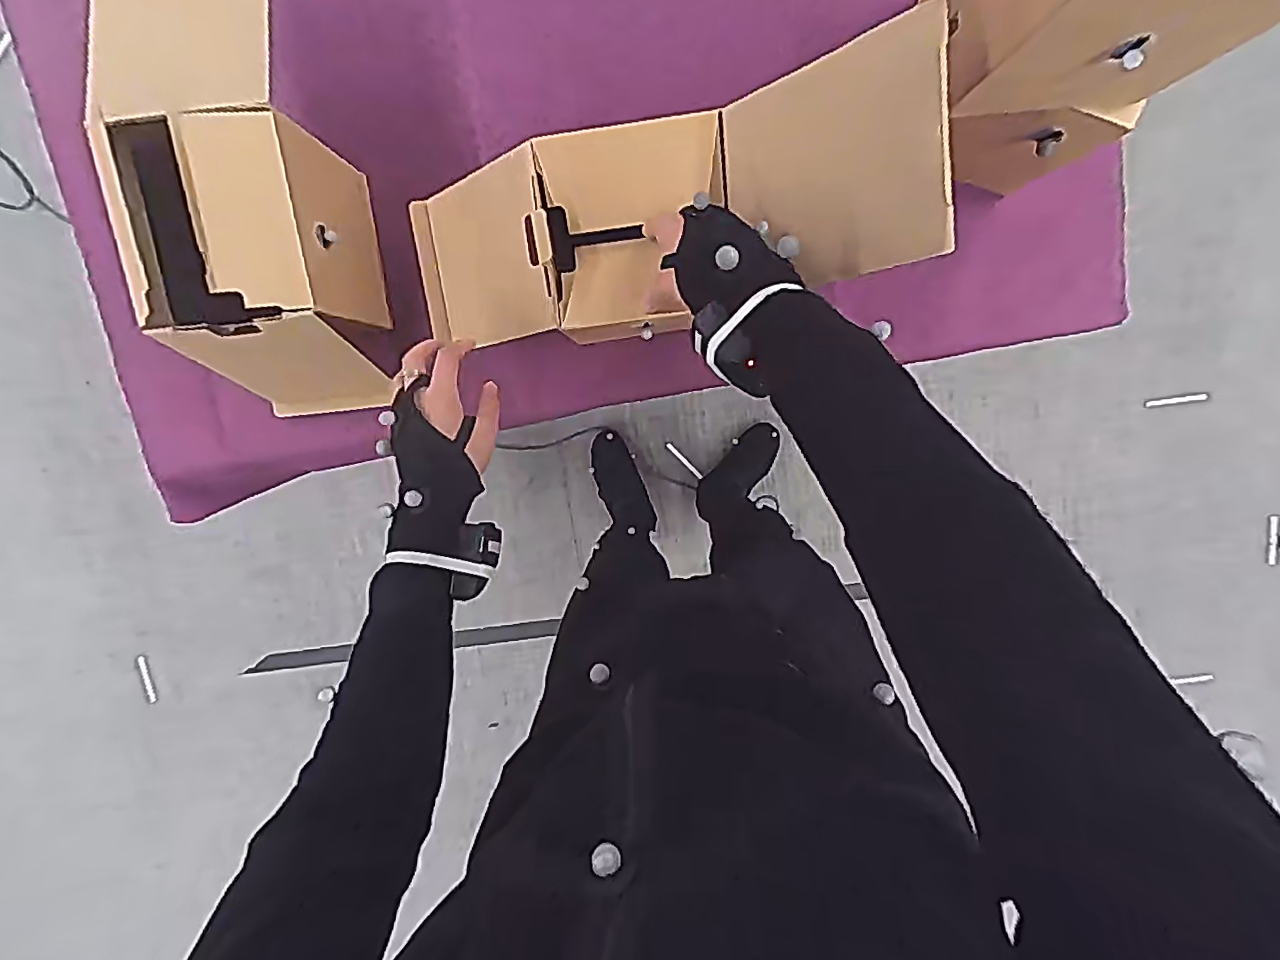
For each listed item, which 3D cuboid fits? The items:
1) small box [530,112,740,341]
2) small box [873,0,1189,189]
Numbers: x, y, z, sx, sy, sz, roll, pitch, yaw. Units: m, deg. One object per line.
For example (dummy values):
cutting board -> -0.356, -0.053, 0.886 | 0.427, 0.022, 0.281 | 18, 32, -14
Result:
small box -> -0.001, -0.242, 0.561 | 0.179, 0.176, 0.168 | -7, 100, 2
small box -> 0.366, -0.413, 0.528 | 0.179, 0.176, 0.168 | 17, 99, -2
